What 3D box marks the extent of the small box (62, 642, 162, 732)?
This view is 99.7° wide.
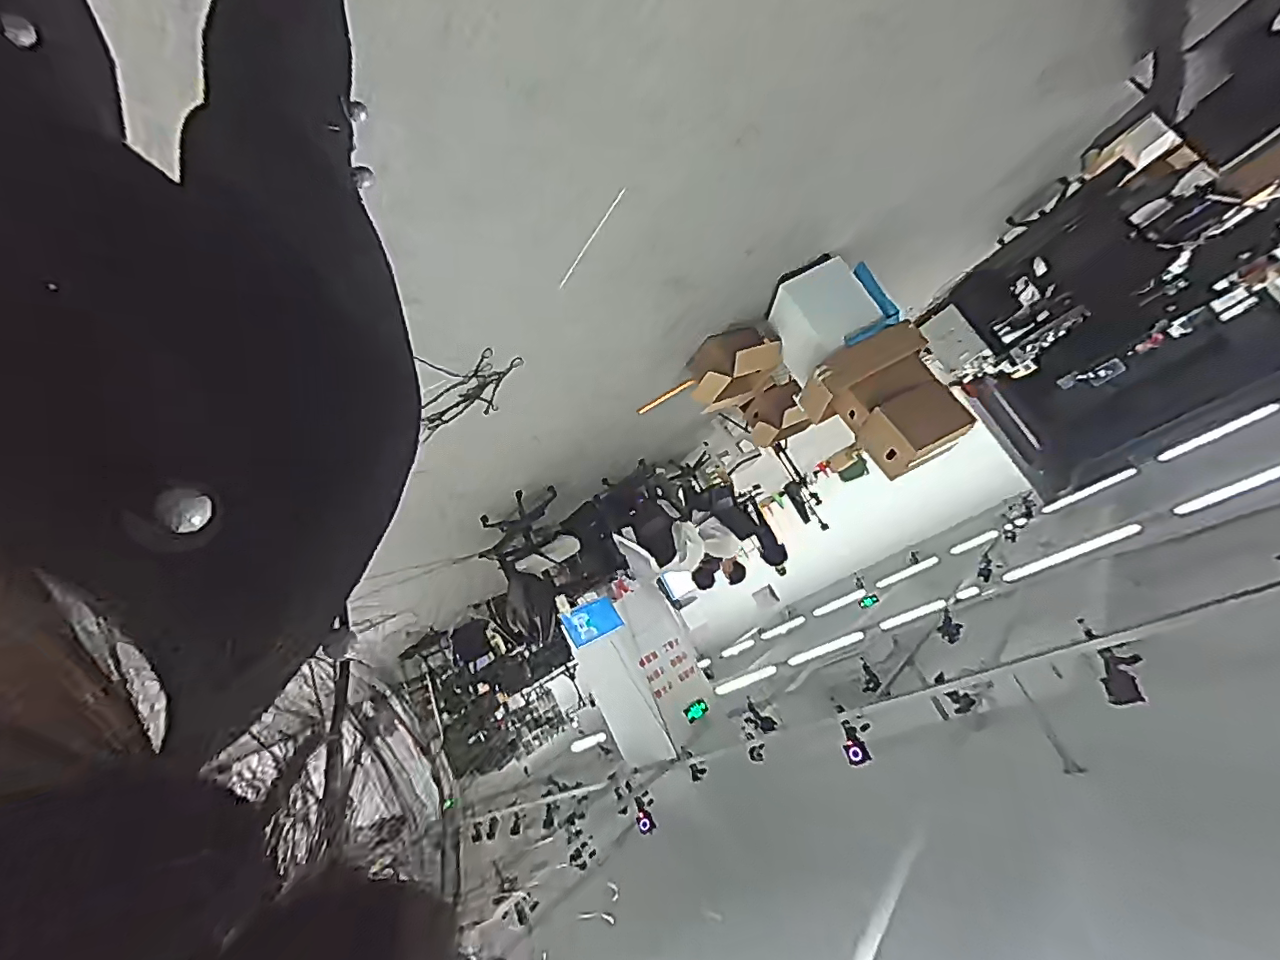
[{"bbox_3d":[-1.412,0.558,1.448,0.168,0.176,0.179,-14,160,-48],"label":"small box"}]
